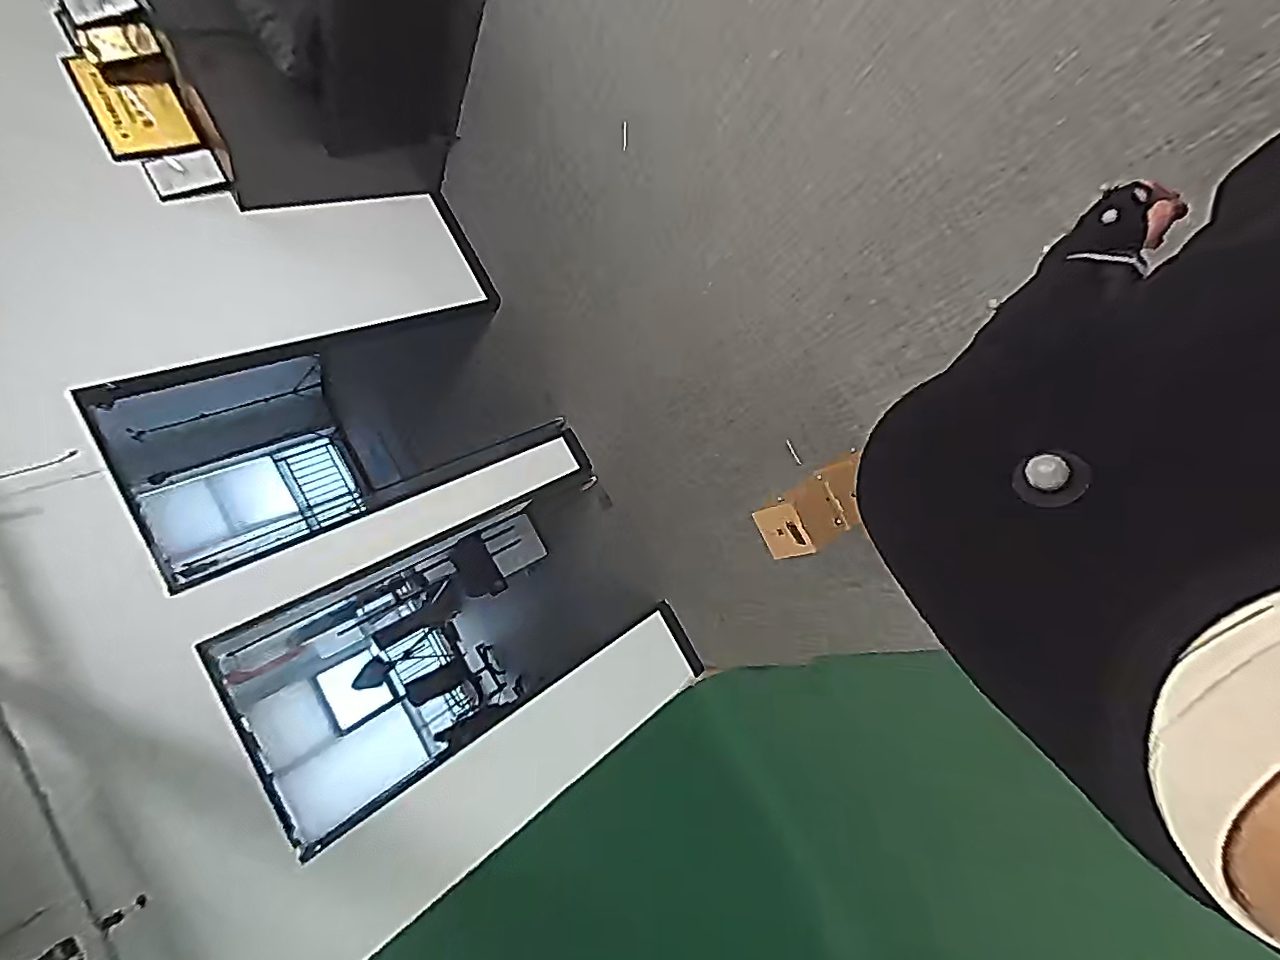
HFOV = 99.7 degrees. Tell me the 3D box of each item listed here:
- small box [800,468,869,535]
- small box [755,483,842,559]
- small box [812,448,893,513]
[{"bbox_3d":[0.615,0.078,1.754,0.179,0.176,0.168,-24,92,54],"label":"small box"},{"bbox_3d":[0.498,0.126,1.677,0.179,0.176,0.168,-26,91,56],"label":"small box"},{"bbox_3d":[0.732,0.013,1.850,0.168,0.176,0.179,-23,93,55],"label":"small box"}]
